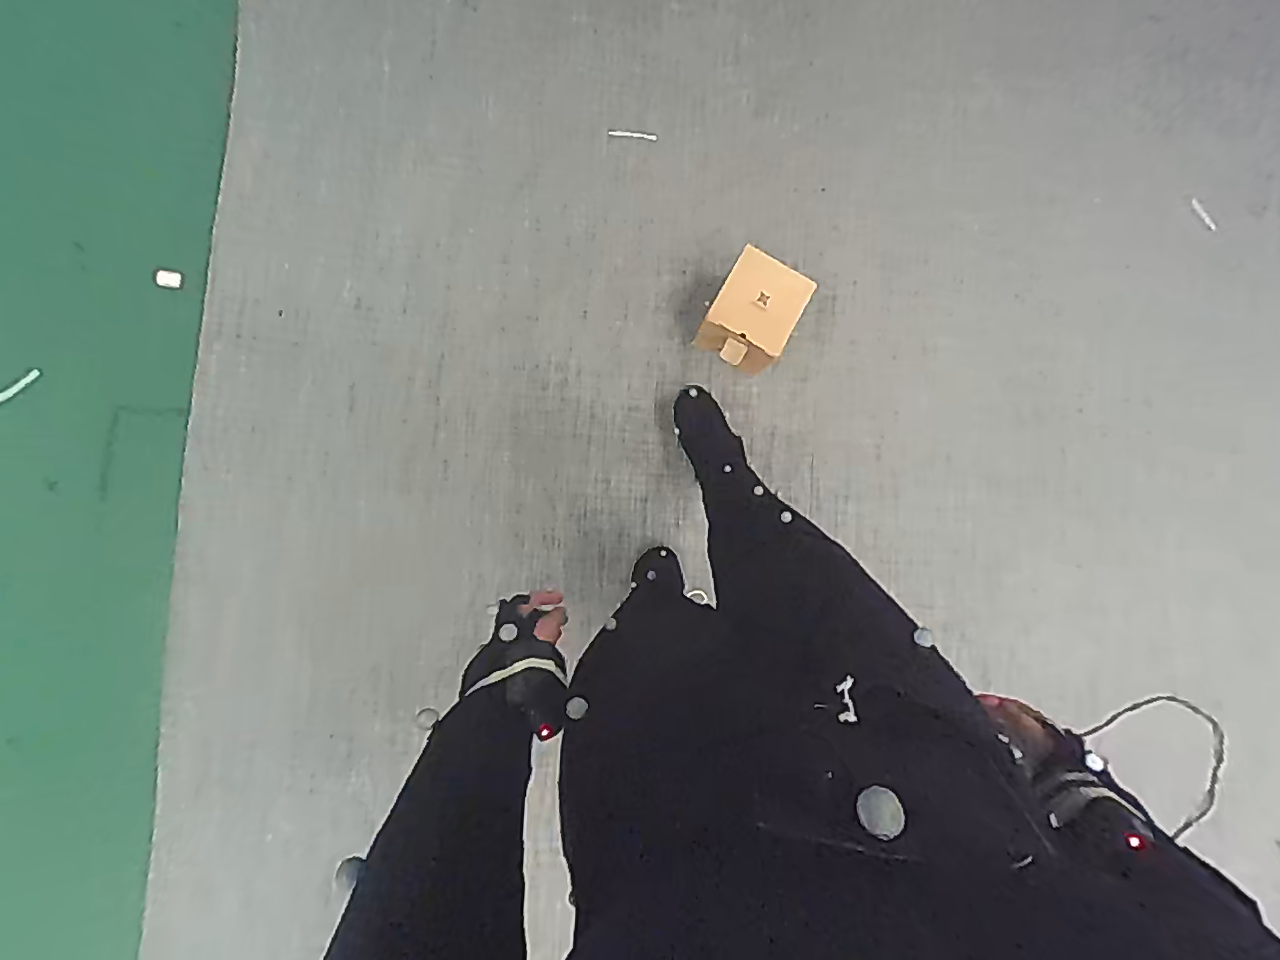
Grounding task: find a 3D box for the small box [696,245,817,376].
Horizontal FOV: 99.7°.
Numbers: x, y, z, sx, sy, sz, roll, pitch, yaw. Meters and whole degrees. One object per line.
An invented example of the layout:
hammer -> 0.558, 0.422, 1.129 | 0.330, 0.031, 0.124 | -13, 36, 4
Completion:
small box -> 0.233, -0.346, 1.137 | 0.168, 0.176, 0.179 | 29, 86, -3
